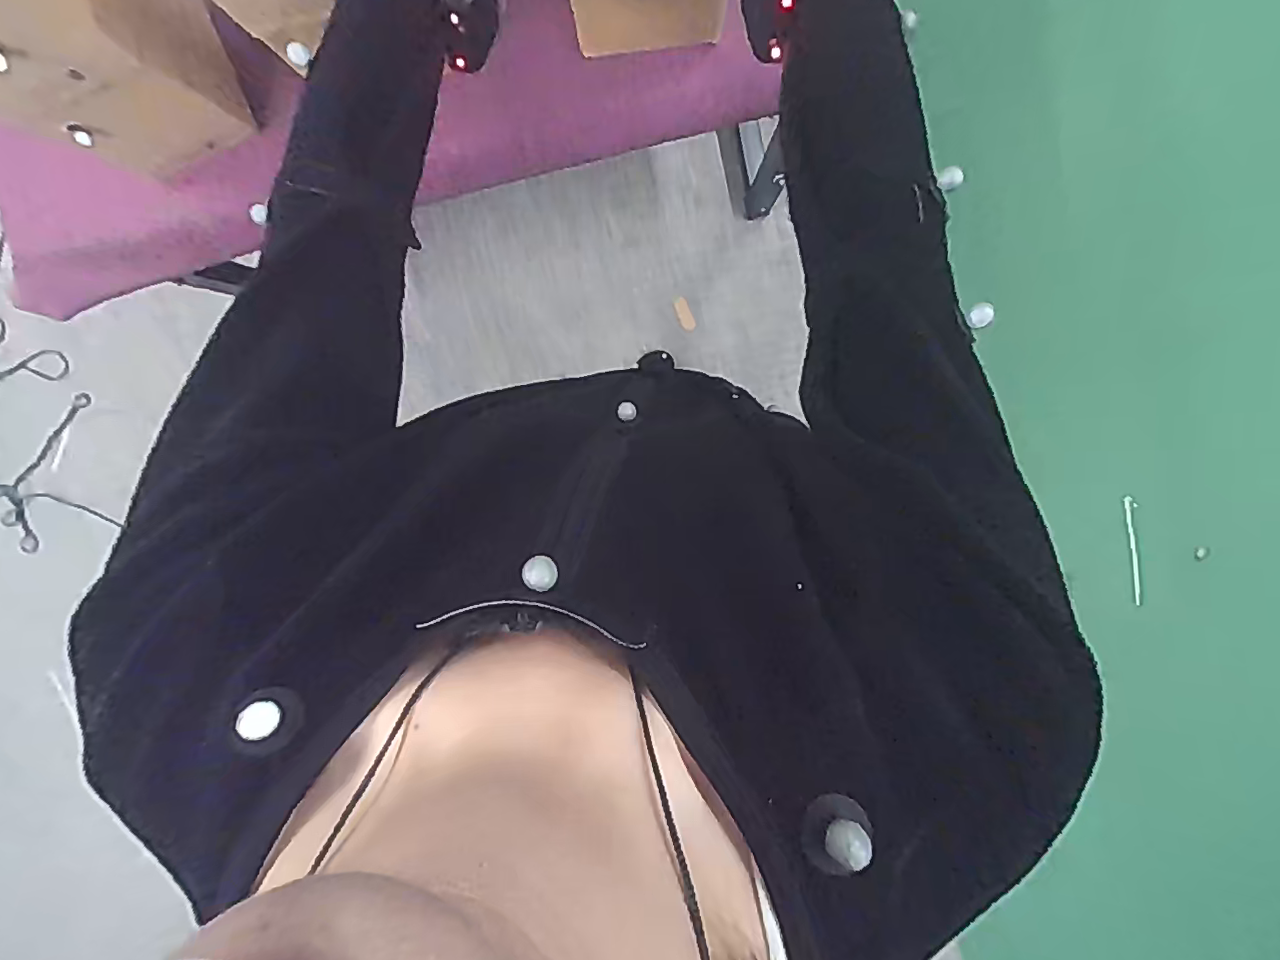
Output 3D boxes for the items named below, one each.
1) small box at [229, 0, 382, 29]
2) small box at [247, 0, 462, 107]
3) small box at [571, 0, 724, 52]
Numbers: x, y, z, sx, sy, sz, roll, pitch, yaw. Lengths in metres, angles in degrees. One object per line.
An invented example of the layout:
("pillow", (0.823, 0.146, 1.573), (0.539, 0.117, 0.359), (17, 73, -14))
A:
("small box", (-0.331, -0.533, 0.442), (0.168, 0.176, 0.179), (-12, 99, 4))
("small box", (-0.331, -0.565, 0.604), (0.179, 0.176, 0.168), (-19, 98, 4))
("small box", (0.006, -0.608, 0.584), (0.179, 0.176, 0.168), (-3, 98, 4))
